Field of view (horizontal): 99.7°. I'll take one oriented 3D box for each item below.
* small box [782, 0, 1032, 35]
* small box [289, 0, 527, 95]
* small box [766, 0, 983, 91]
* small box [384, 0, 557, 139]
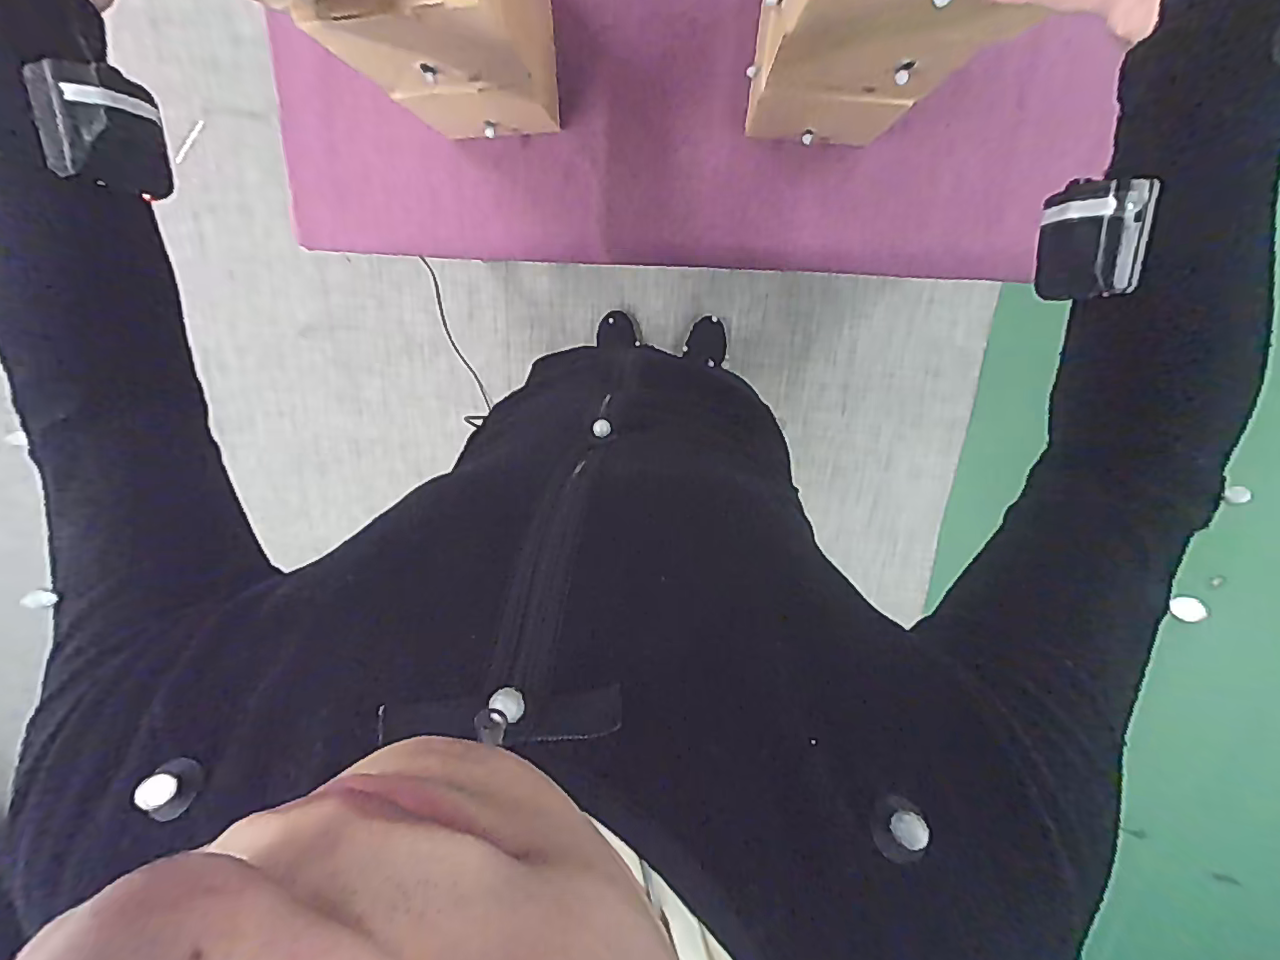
[{"bbox_3d":[0.196,-0.399,0.319,0.179,0.176,0.168,2,109,2],"label":"small box"},{"bbox_3d":[-0.215,-0.499,0.506,0.168,0.176,0.179,-3,108,6],"label":"small box"},{"bbox_3d":[0.210,-0.470,0.473,0.168,0.176,0.179,6,109,4],"label":"small box"},{"bbox_3d":[-0.204,-0.545,0.661,0.168,0.176,0.179,0,108,6],"label":"small box"}]
